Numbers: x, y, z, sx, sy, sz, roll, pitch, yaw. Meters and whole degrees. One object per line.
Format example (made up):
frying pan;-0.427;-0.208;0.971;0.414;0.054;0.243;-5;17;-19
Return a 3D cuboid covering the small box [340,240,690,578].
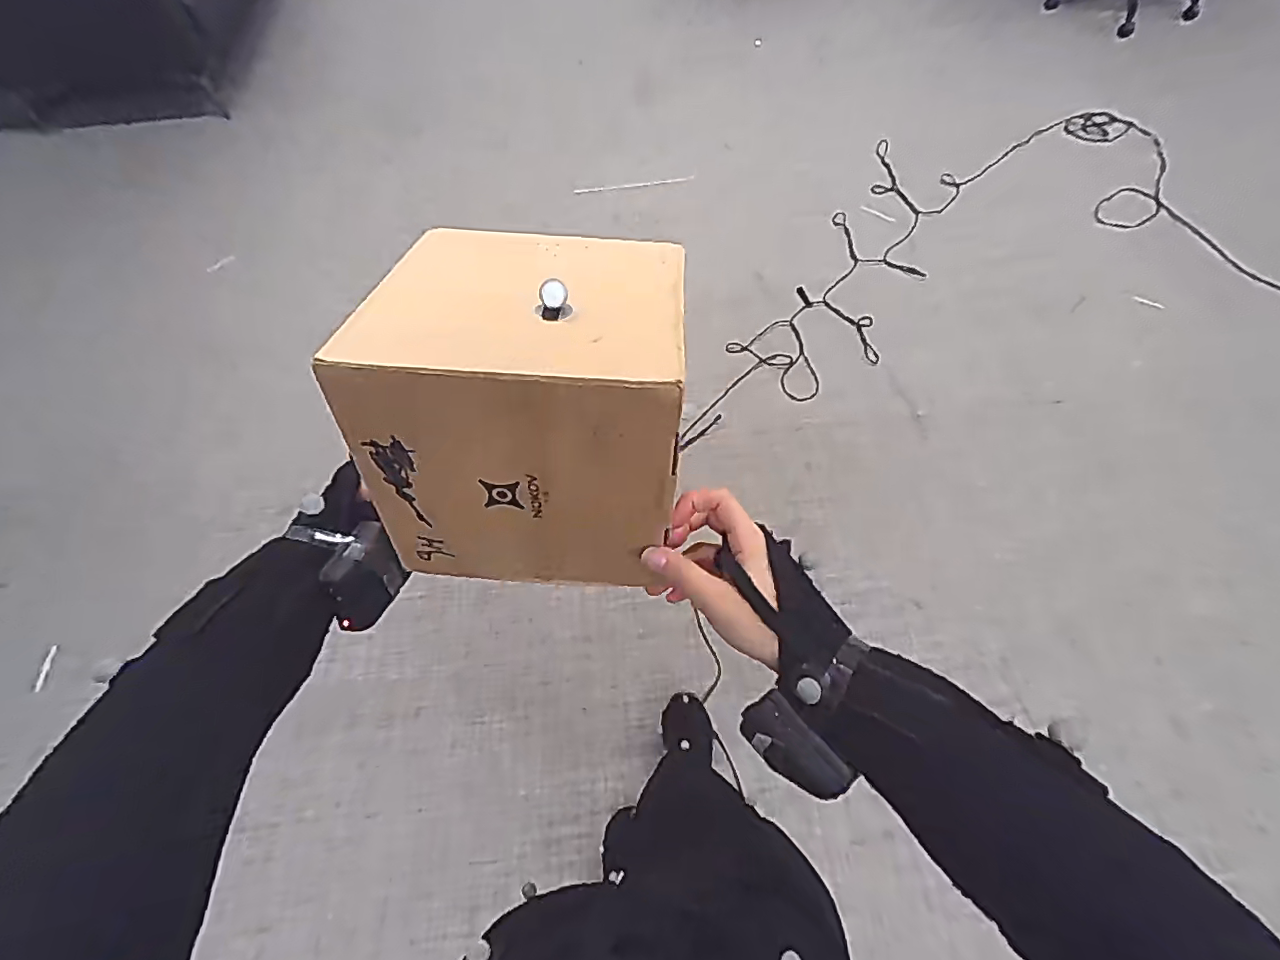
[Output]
small box;-0.063;-0.052;0.376;0.179;0.168;0.176;4;44;0
